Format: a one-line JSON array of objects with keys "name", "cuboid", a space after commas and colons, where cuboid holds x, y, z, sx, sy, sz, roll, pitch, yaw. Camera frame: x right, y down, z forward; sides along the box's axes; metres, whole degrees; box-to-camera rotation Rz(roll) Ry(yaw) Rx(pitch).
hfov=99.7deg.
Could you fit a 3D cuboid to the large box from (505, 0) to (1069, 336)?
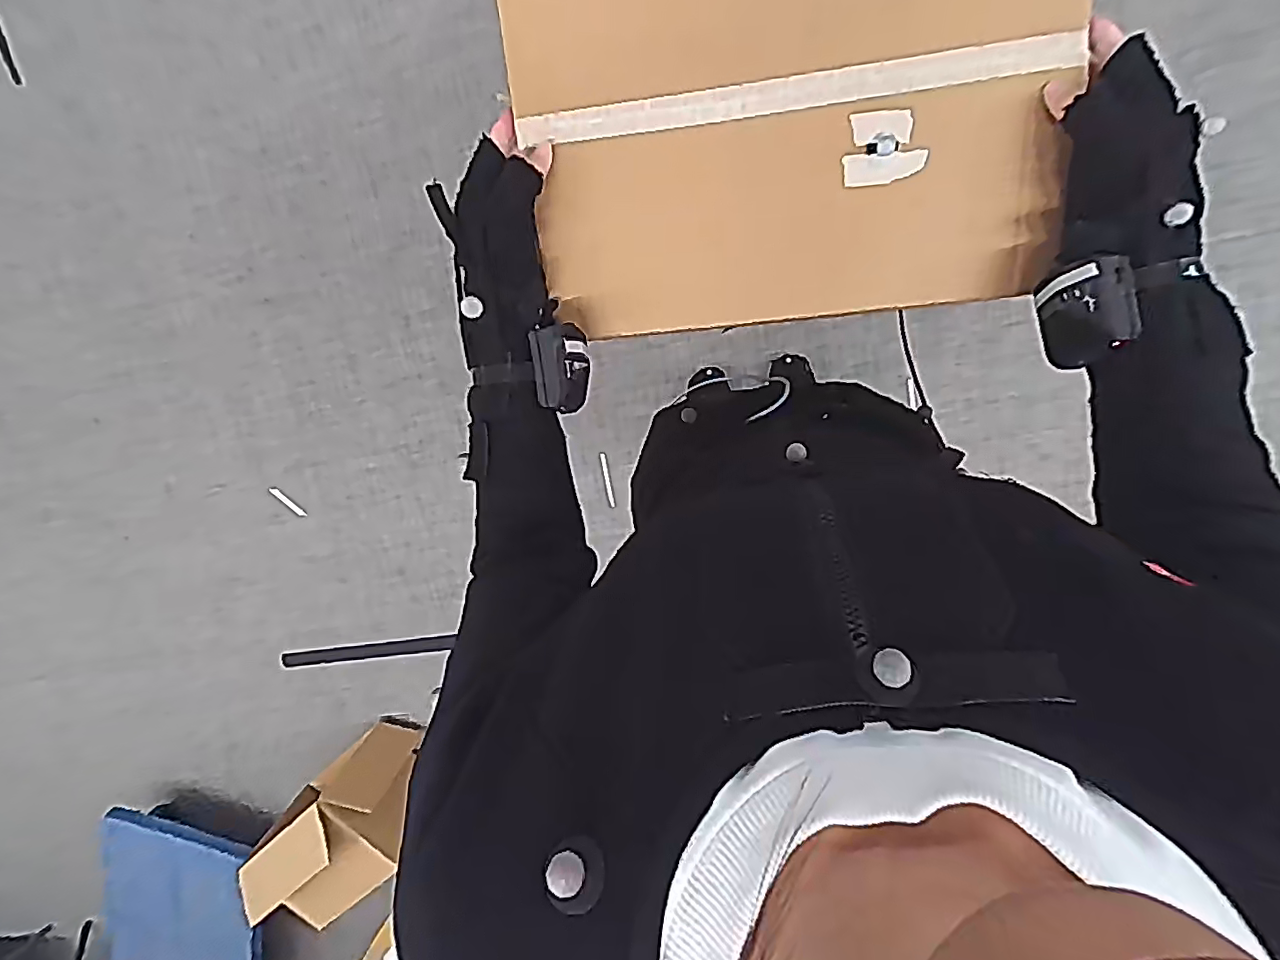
[{"name": "large box", "cuboid": [0.115, -0.329, 0.549, 0.408, 0.320, 0.320, -5, 106, 5]}]
